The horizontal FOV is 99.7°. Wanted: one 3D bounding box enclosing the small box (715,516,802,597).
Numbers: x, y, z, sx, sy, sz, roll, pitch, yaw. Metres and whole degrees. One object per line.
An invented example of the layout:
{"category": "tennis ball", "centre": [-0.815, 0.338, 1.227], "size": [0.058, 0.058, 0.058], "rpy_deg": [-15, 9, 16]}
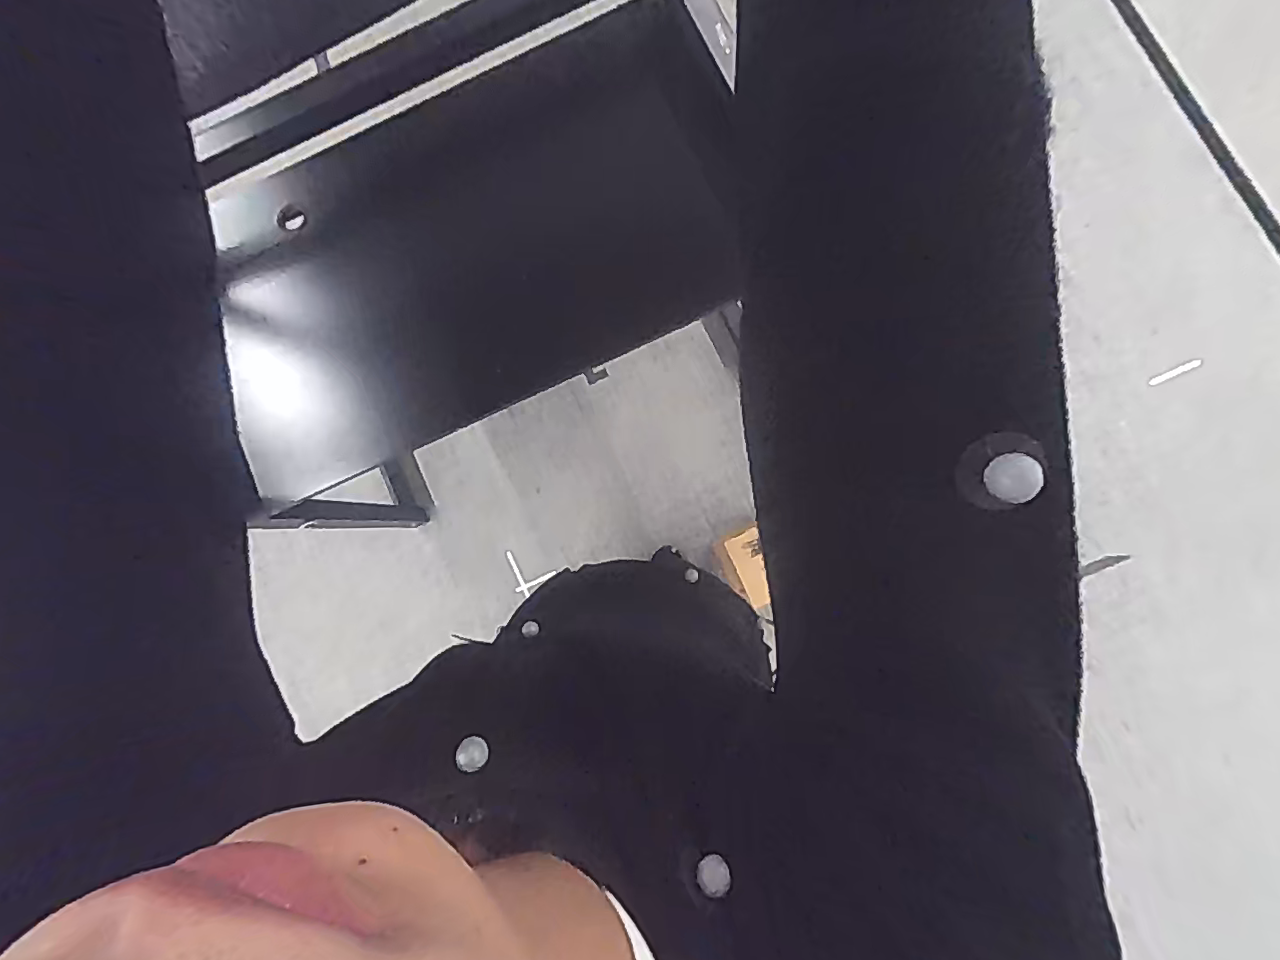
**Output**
{"category": "small box", "centre": [0.323, 0.209, 1.517], "size": [0.179, 0.176, 0.168], "rpy_deg": [-26, 83, 3]}
